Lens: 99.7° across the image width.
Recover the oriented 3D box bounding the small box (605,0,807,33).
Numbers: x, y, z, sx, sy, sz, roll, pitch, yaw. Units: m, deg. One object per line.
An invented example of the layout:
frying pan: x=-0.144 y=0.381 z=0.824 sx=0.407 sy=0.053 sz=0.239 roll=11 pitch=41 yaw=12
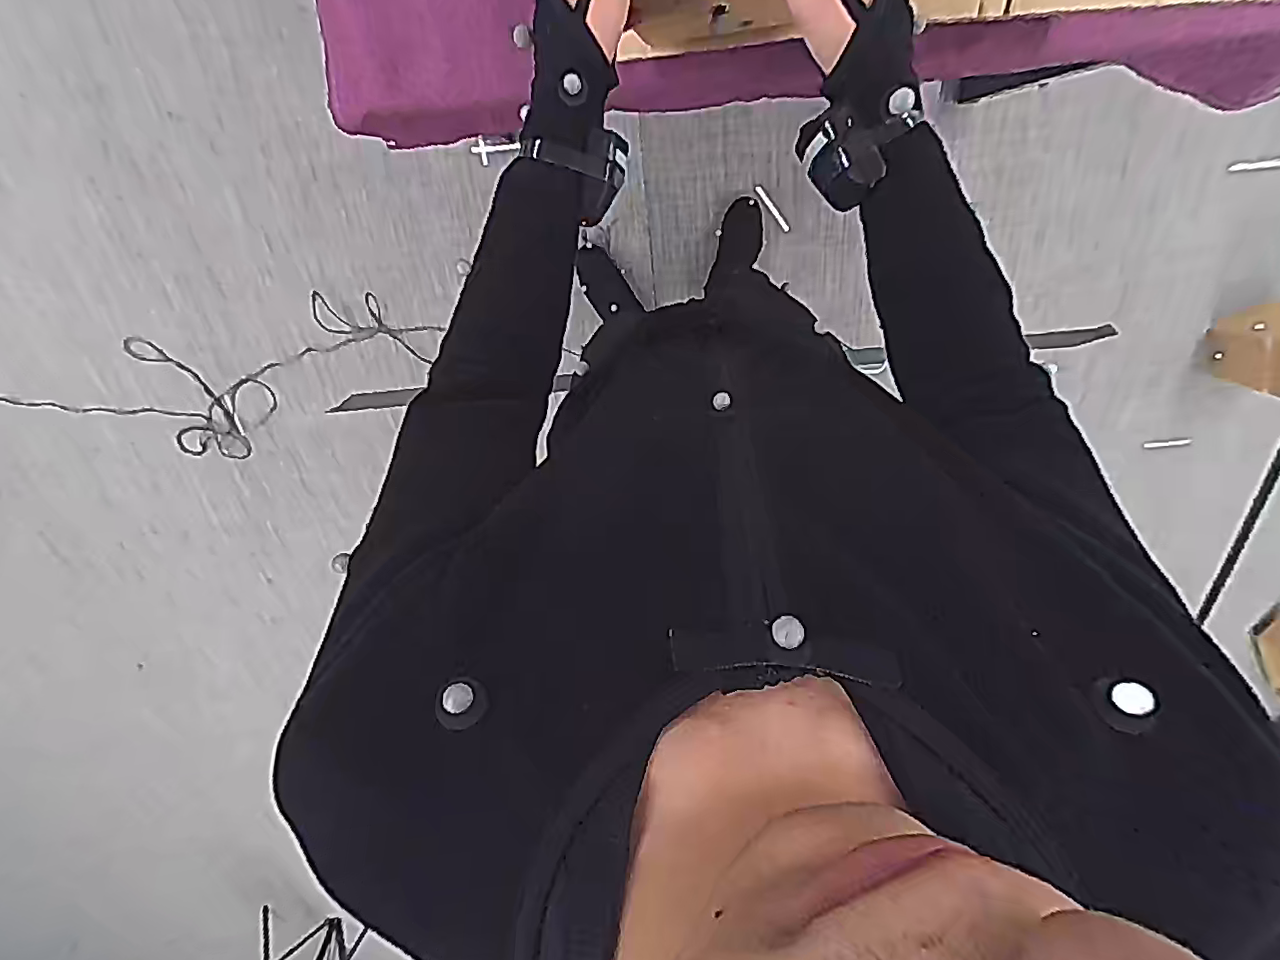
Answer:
small box: x=0.060 y=-0.491 z=0.436 sx=0.168 sy=0.176 sz=0.179 roll=2 pitch=118 yaw=13
